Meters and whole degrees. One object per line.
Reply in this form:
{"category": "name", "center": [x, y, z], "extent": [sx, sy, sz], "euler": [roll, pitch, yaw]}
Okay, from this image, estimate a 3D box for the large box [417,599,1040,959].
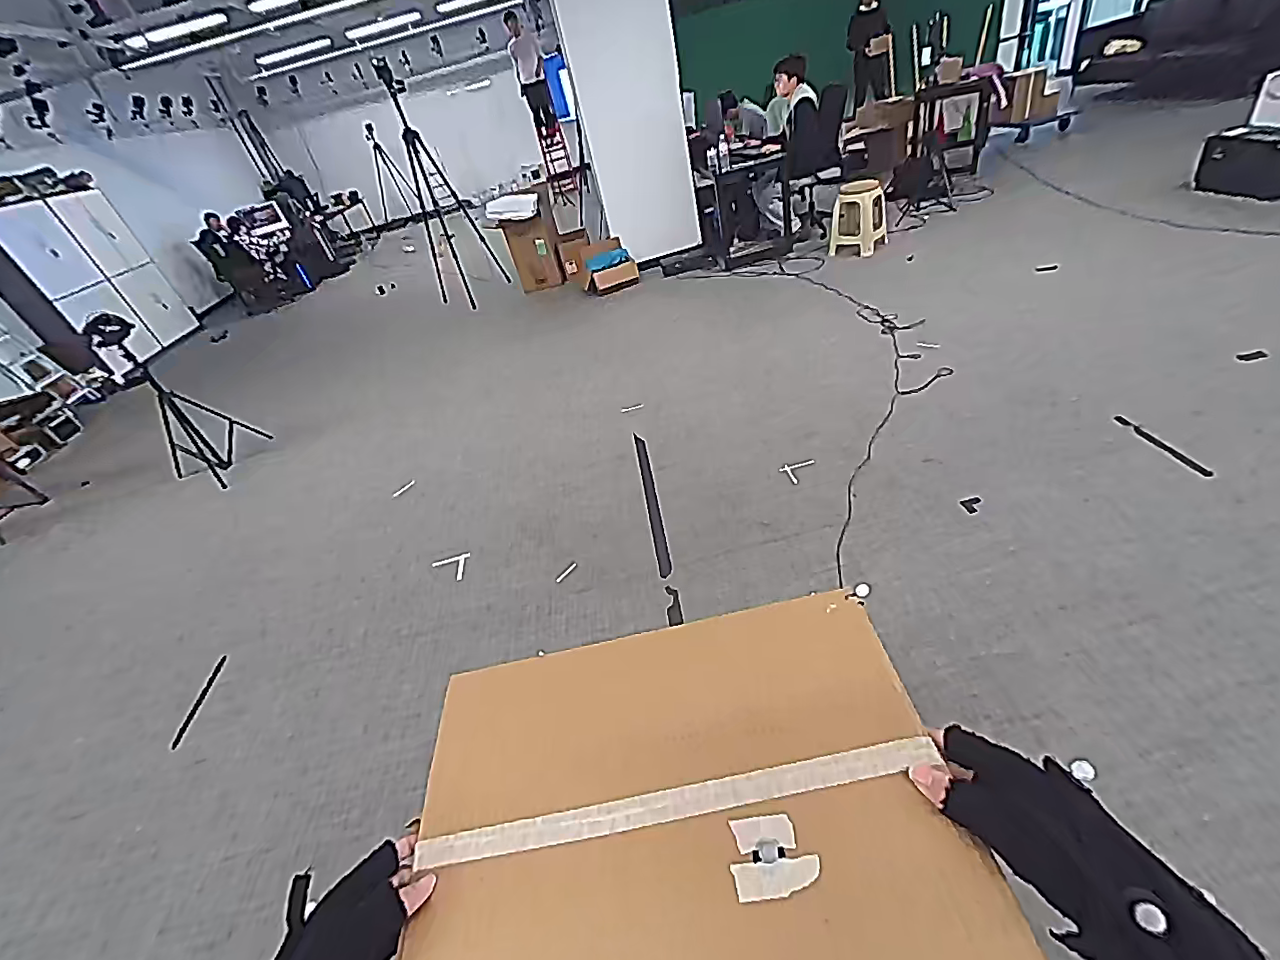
{"category": "large box", "center": [0.059, 0.368, 0.511], "extent": [0.408, 0.320, 0.320], "euler": [-14, 39, 3]}
